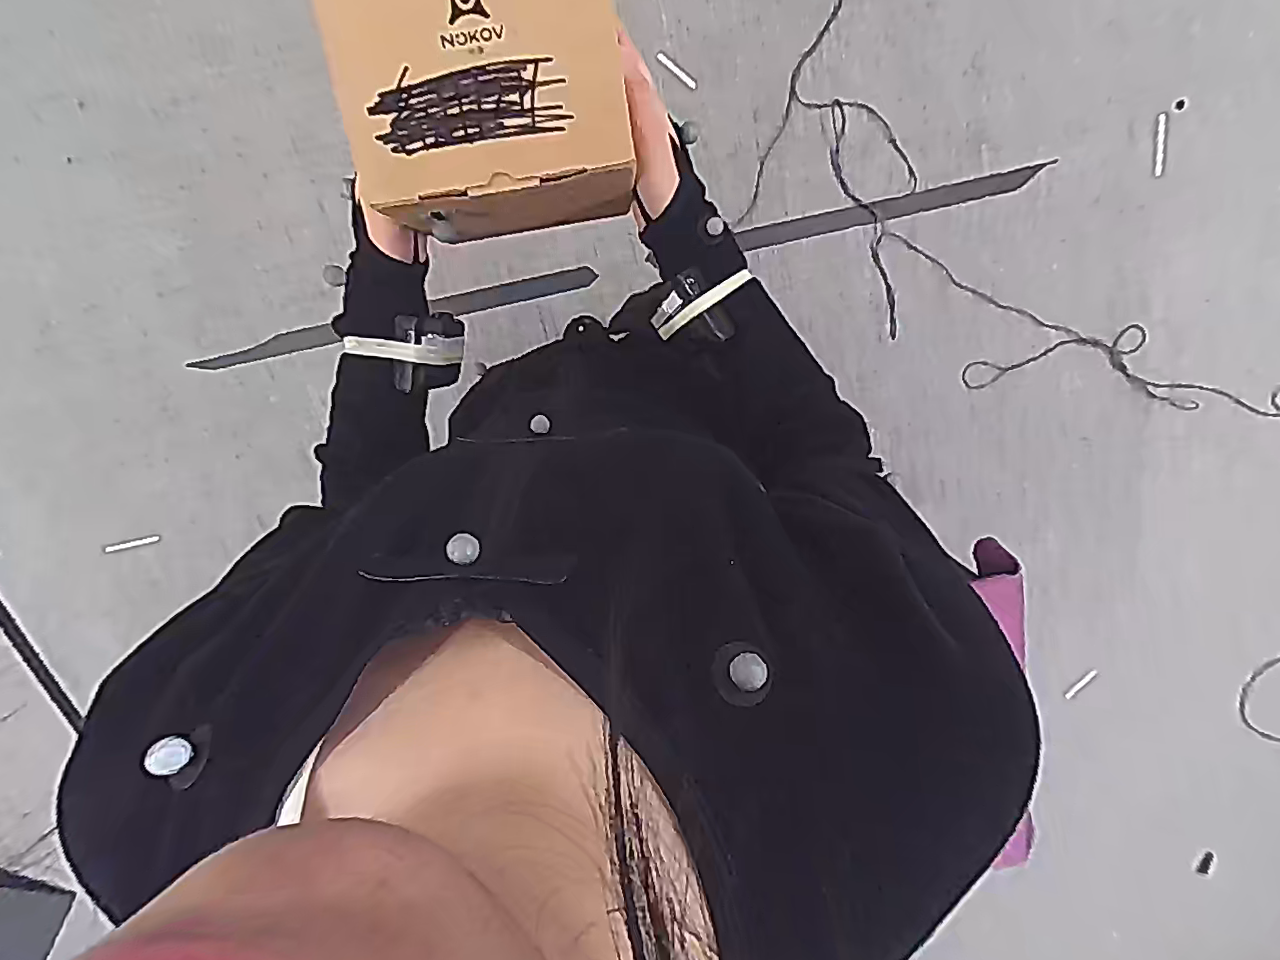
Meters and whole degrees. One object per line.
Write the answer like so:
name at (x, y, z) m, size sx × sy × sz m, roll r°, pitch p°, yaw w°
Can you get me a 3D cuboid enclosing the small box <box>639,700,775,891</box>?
small box at (0.096, 0.475, 0.830) m, size 0.168 × 0.176 × 0.179 m, roll -11°, pitch 109°, yaw -1°
